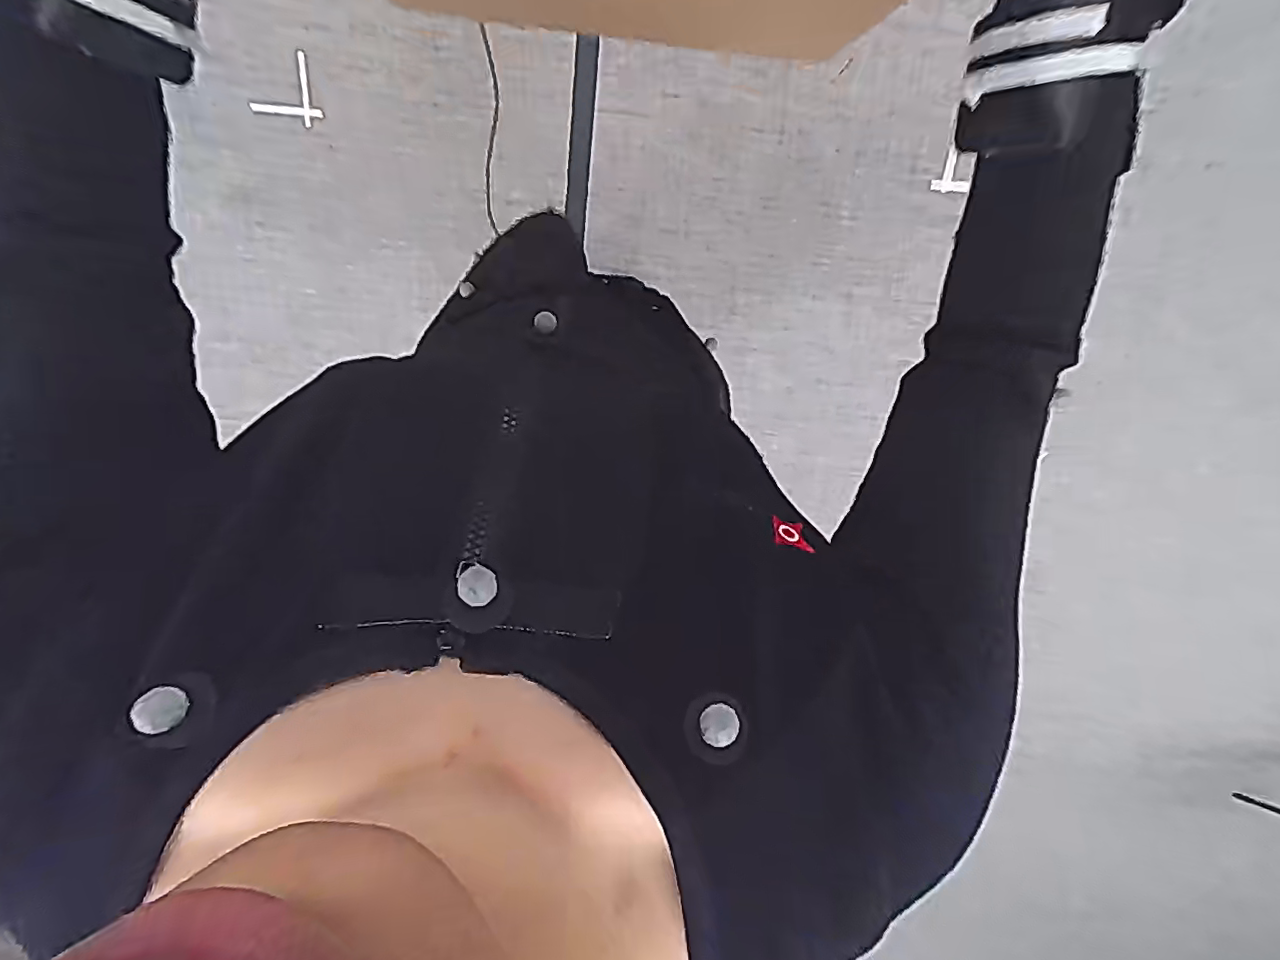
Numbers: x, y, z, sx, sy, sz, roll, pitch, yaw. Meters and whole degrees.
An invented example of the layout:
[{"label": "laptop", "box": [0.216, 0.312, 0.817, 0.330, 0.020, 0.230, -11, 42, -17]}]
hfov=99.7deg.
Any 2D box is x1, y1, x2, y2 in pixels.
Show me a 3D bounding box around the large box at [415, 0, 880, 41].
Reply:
[{"label": "large box", "box": [0.003, -0.490, 0.296, 0.408, 0.320, 0.320, 3, 116, -5]}]
